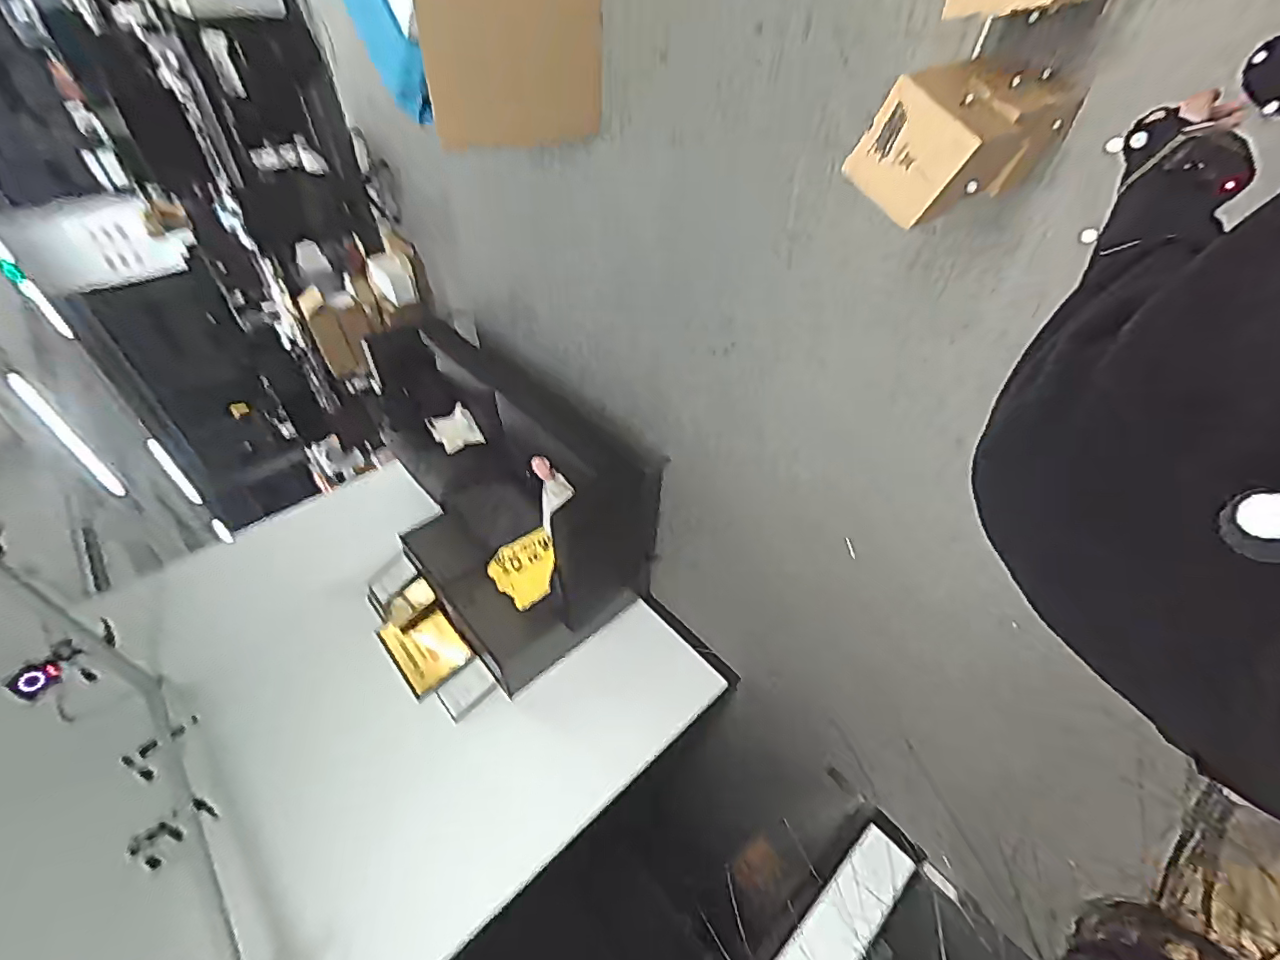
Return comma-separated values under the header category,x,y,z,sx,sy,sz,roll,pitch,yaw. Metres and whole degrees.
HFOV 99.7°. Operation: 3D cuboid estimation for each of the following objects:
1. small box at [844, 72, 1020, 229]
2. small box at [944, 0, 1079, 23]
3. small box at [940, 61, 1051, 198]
category,x,y,z,sx,sy,sz,roll,pitch,yaw
small box,0.508,-0.579,0.948,0.179,0.176,0.168,51,149,12
small box,0.618,-0.853,0.855,0.168,0.176,0.179,29,140,40
small box,0.626,-0.660,1.031,0.168,0.176,0.179,49,149,17
